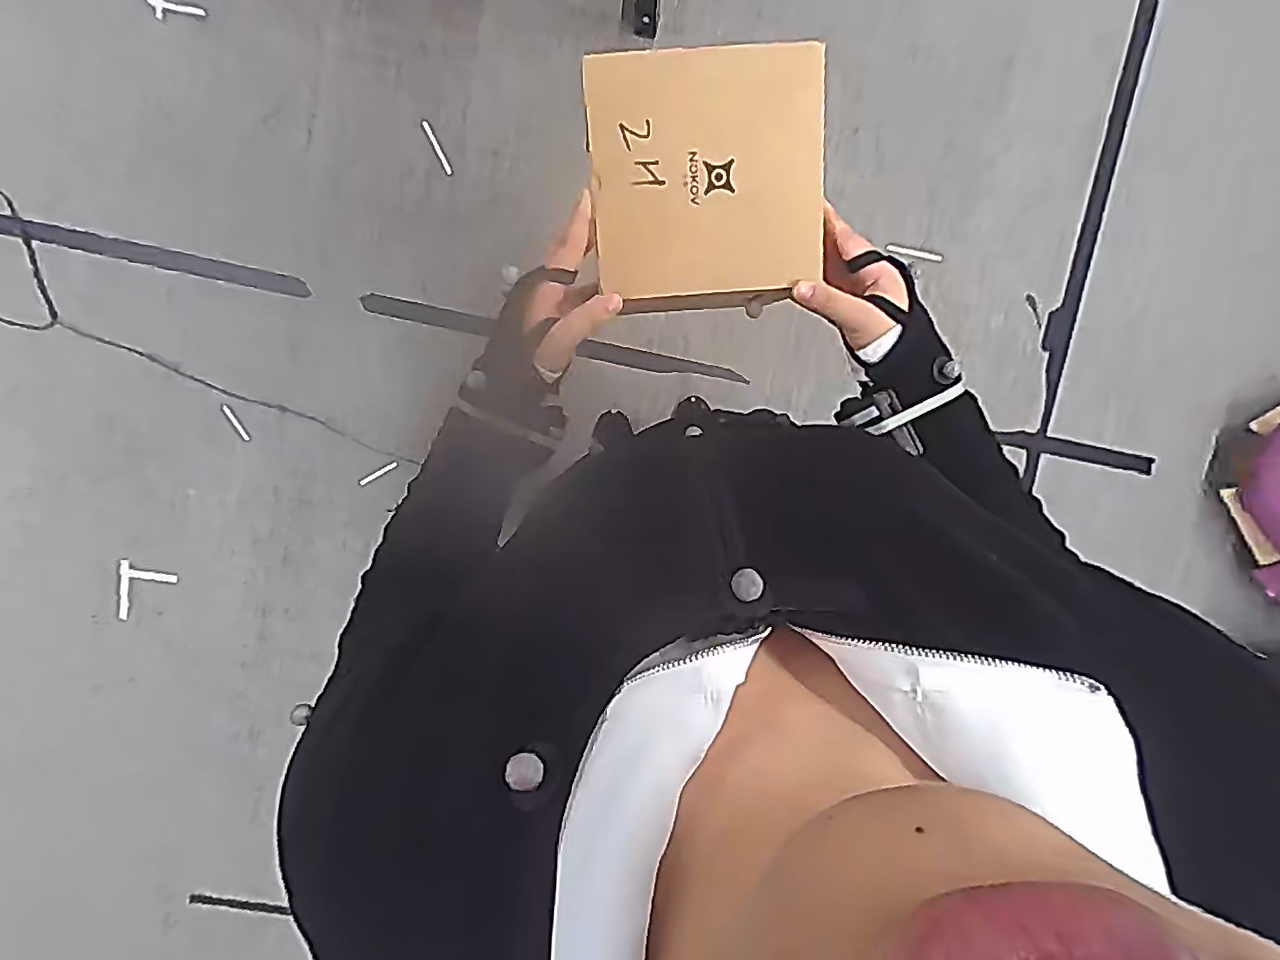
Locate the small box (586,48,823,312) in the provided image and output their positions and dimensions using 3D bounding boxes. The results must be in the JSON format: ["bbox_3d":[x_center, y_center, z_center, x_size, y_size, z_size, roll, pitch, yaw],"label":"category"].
[{"bbox_3d":[0.048,-0.245,0.484,0.179,0.176,0.168,-4,102,-1],"label":"small box"}]
